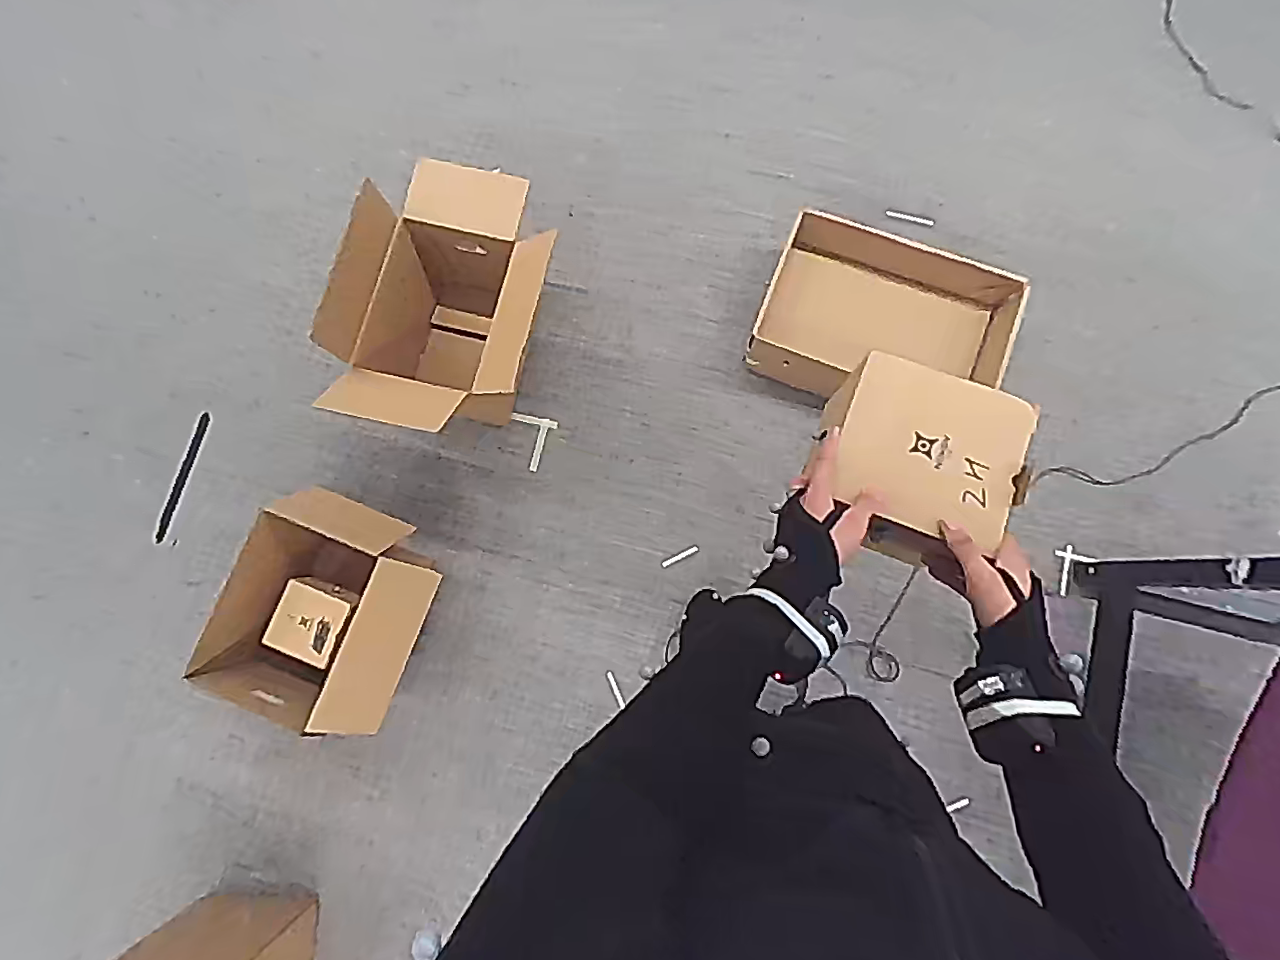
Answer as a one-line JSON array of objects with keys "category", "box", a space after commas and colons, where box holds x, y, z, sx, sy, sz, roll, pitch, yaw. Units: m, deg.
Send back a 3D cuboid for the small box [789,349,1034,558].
[{"category": "small box", "box": [0.285, -0.016, 0.609, 0.179, 0.176, 0.168, 21, 81, 8]}]
